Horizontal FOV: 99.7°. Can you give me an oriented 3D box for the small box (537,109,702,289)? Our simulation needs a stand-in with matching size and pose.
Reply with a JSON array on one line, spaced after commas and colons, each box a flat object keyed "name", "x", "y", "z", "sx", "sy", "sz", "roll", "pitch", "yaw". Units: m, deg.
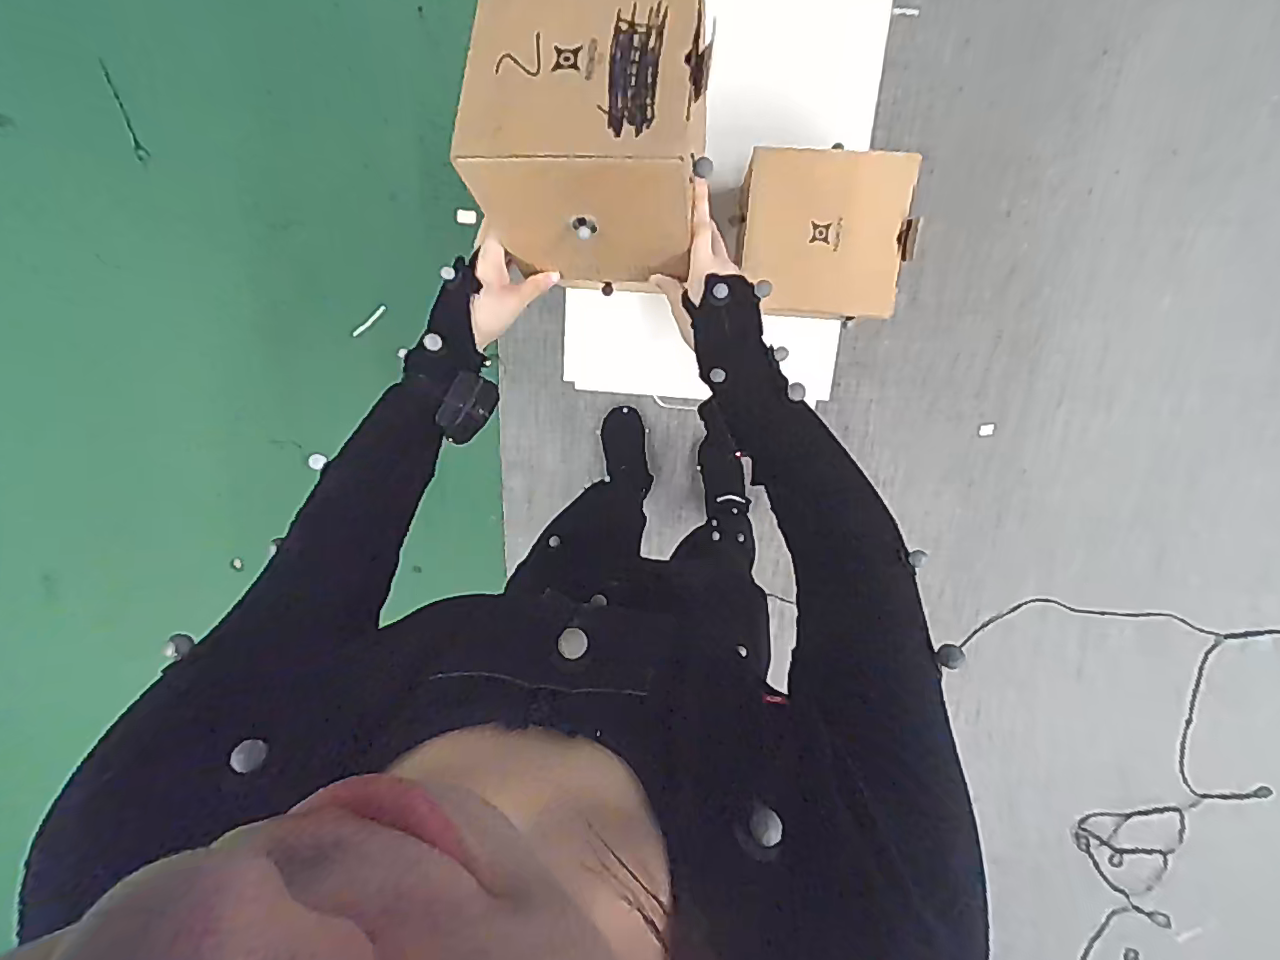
[{"name": "small box", "x": -0.020, "y": -0.330, "z": 0.667, "sx": 0.179, "sy": 0.176, "sz": 0.168, "roll": 4, "pitch": 106, "yaw": 3}]
